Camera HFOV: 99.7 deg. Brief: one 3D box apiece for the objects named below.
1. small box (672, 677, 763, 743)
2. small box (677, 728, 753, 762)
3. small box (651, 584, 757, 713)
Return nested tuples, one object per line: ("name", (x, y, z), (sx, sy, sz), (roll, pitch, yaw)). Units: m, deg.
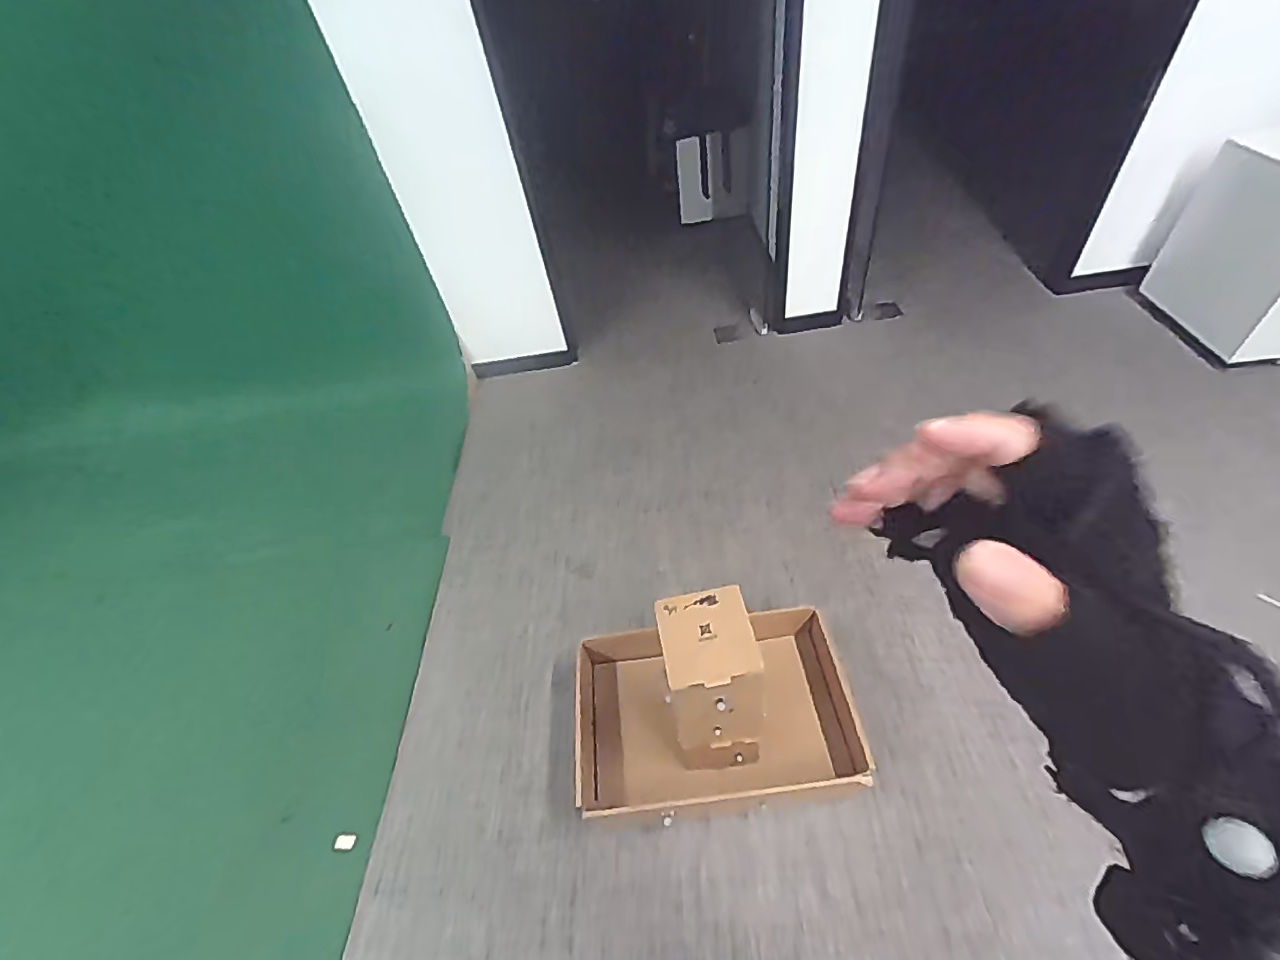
("small box", (0.149, 0.438, 1.148), (0.179, 0.176, 0.168), (-11, 48, -1))
("small box", (0.169, 0.546, 1.269), (0.168, 0.176, 0.179), (-8, 46, 3))
("small box", (0.122, 0.328, 1.030), (0.168, 0.176, 0.179), (-11, 48, 1))
